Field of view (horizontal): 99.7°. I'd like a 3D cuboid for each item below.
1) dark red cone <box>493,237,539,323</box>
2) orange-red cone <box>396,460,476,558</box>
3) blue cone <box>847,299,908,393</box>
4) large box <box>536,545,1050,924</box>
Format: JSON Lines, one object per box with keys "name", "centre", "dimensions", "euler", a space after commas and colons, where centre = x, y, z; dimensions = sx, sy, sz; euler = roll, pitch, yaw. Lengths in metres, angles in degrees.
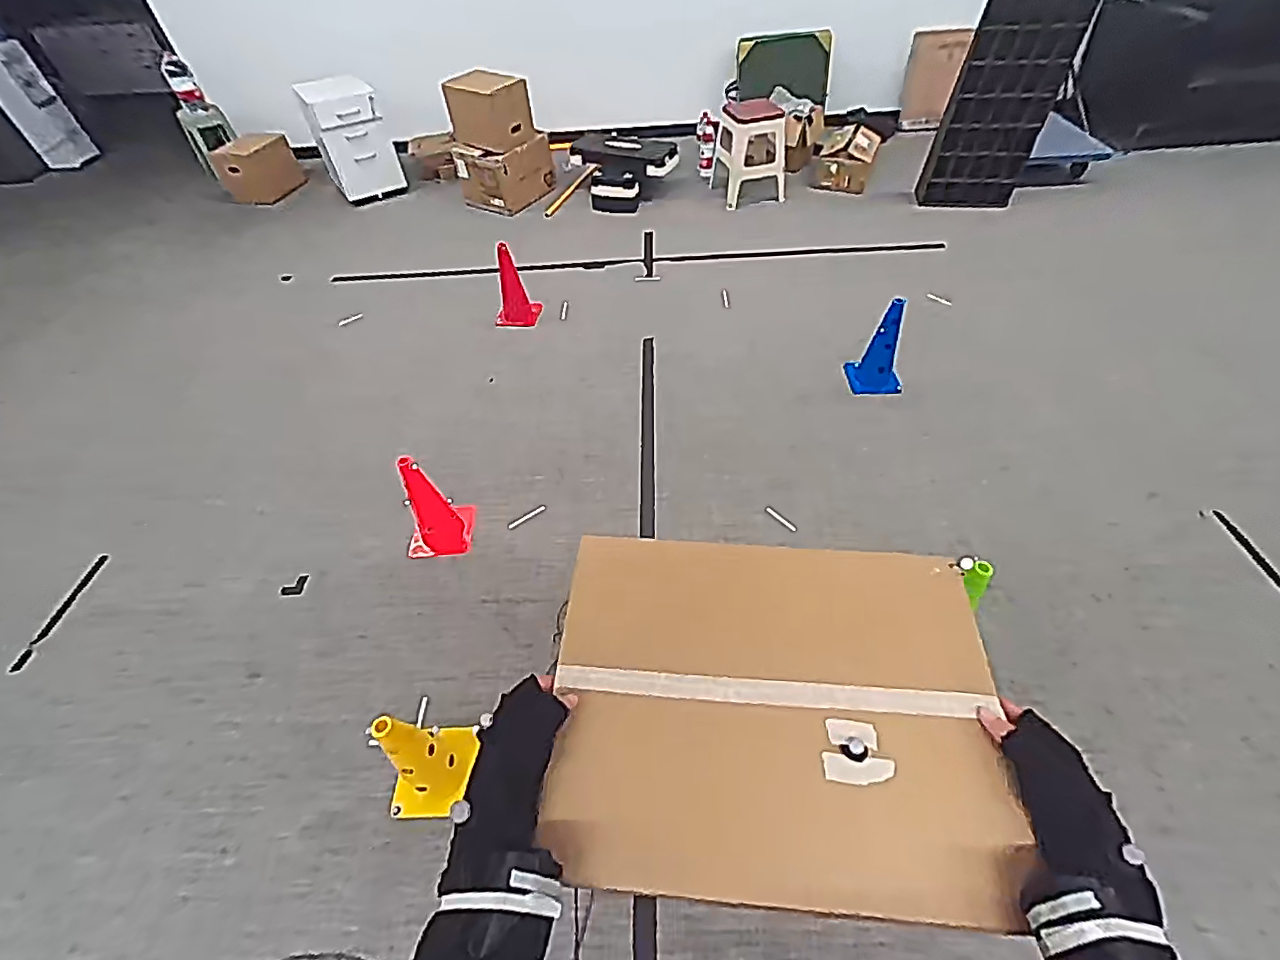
{"name": "dark red cone", "centre": [-0.609, -0.935, 2.525], "dimensions": [0.201, 0.394, 0.202], "euler": [3, 50, 5]}
{"name": "orange-red cone", "centre": [-0.676, 0.069, 1.702], "dimensions": [0.198, 0.360, 0.199], "euler": [-5, 51, 1]}
{"name": "blue cone", "centre": [0.959, -0.530, 2.116], "dimensions": [0.192, 0.380, 0.193], "euler": [1, 50, 4]}
{"name": "large box", "centre": [0.126, 0.293, 0.624], "dimensions": [0.408, 0.320, 0.320], "euler": [3, 53, 4]}
